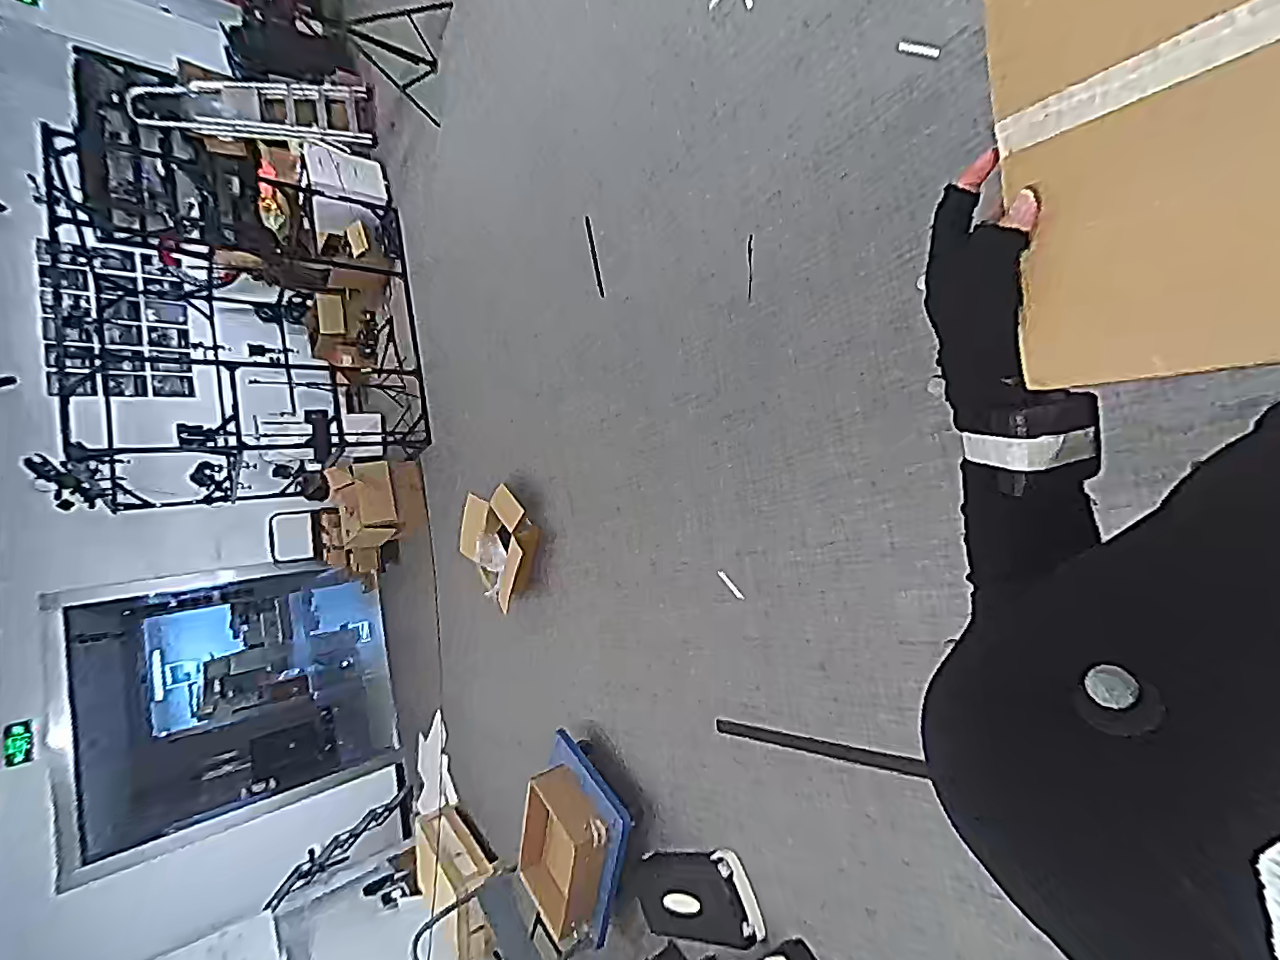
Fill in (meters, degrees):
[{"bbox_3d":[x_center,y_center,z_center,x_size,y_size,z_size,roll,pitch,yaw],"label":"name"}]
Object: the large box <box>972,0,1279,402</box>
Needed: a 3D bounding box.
[{"bbox_3d":[0.460,-0.242,0.269,0.408,0.320,0.320,-1,102,55],"label":"large box"}]
